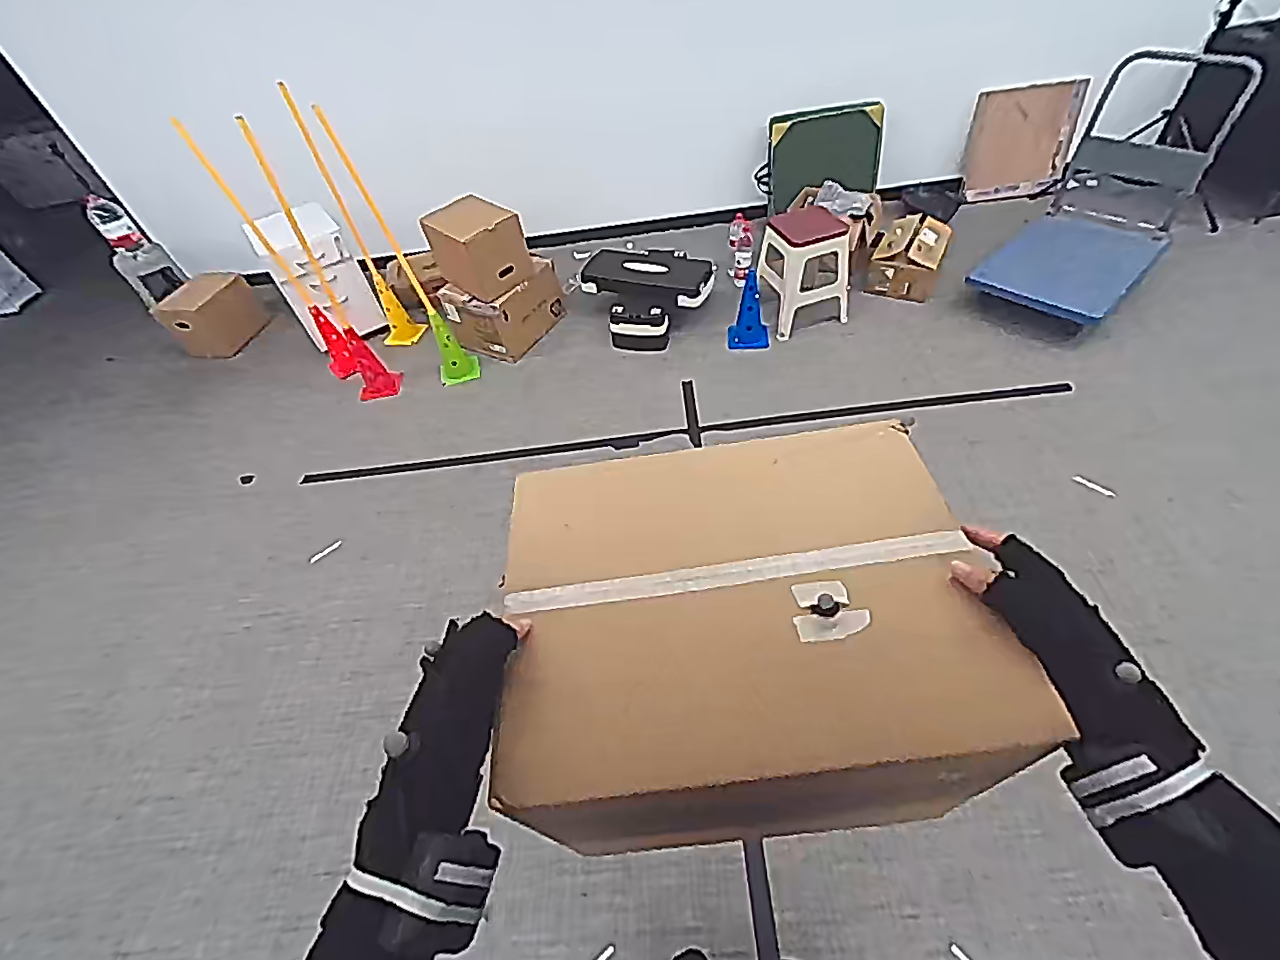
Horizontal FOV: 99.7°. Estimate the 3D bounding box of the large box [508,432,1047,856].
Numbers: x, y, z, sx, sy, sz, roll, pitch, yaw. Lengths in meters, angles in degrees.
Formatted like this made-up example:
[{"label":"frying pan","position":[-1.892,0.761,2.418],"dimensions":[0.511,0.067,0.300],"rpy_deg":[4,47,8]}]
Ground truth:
[{"label":"large box","position":[0.100,0.188,0.597],"dimensions":[0.408,0.320,0.320],"rpy_deg":[-8,49,2]}]
